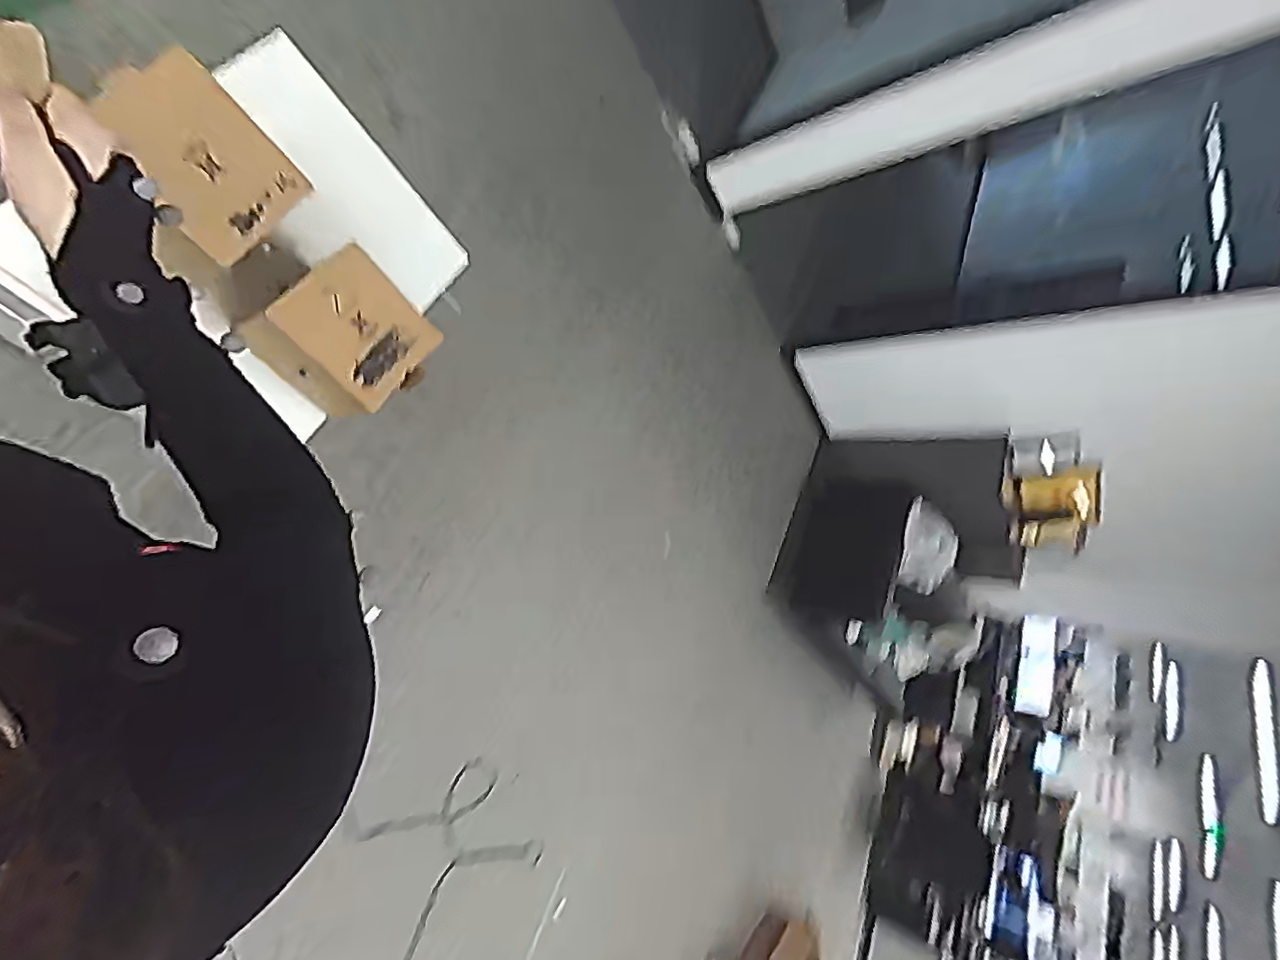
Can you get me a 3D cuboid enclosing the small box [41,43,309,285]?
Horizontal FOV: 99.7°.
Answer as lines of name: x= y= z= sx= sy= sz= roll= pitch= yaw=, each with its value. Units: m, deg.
small box: x=-0.563 y=-0.368 z=0.660 sx=0.179 sy=0.176 sz=0.168 roll=51 pitch=55 yaw=-39
